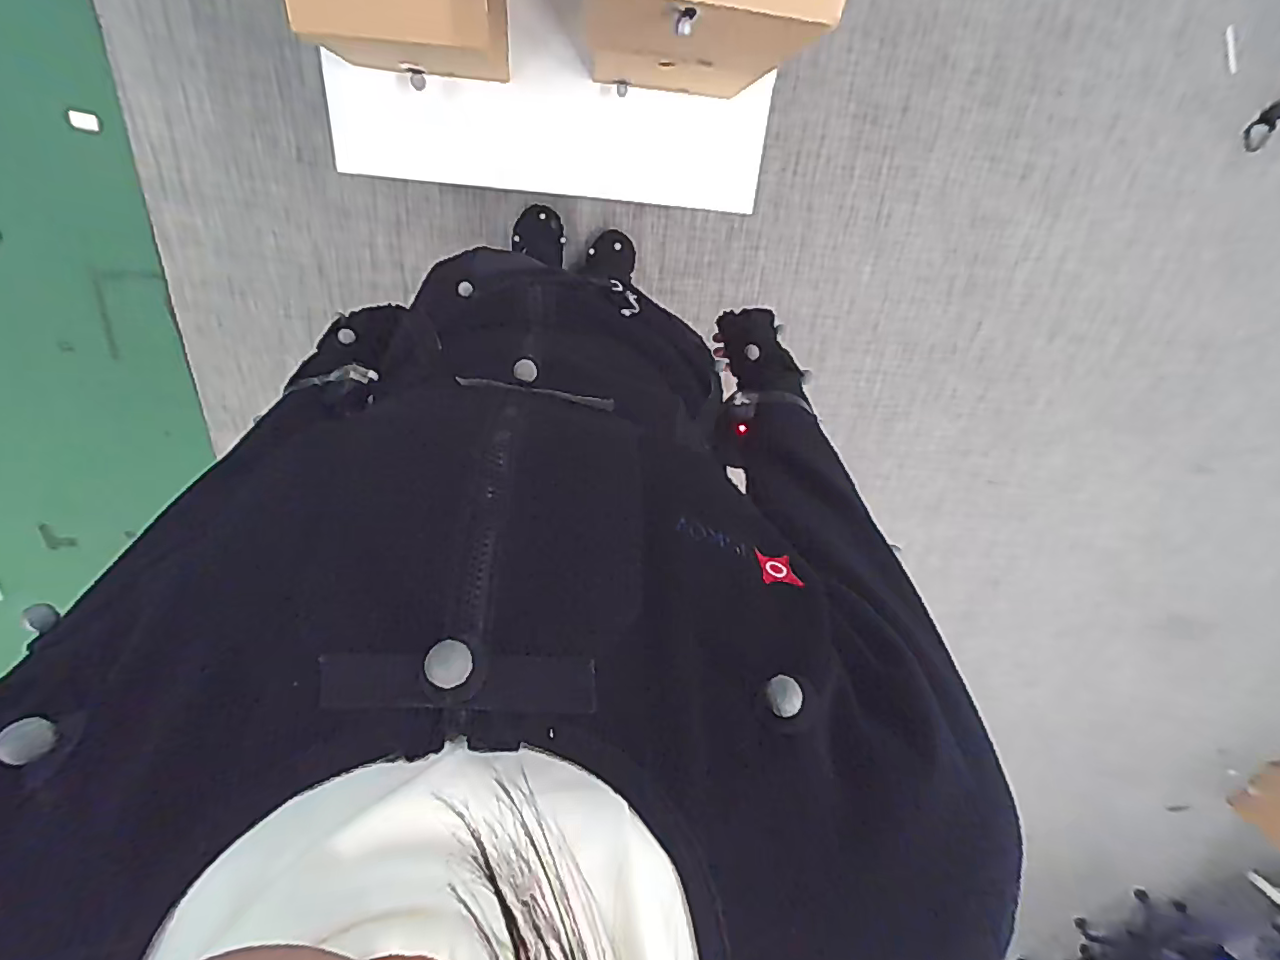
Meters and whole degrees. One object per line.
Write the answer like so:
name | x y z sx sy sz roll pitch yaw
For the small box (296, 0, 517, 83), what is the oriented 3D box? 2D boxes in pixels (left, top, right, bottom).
small box | -0.209 -0.492 0.498 0.168 0.176 0.179 0 119 -5

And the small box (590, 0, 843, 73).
small box | 0.051 -0.416 0.374 0.168 0.176 0.179 3 117 -7
